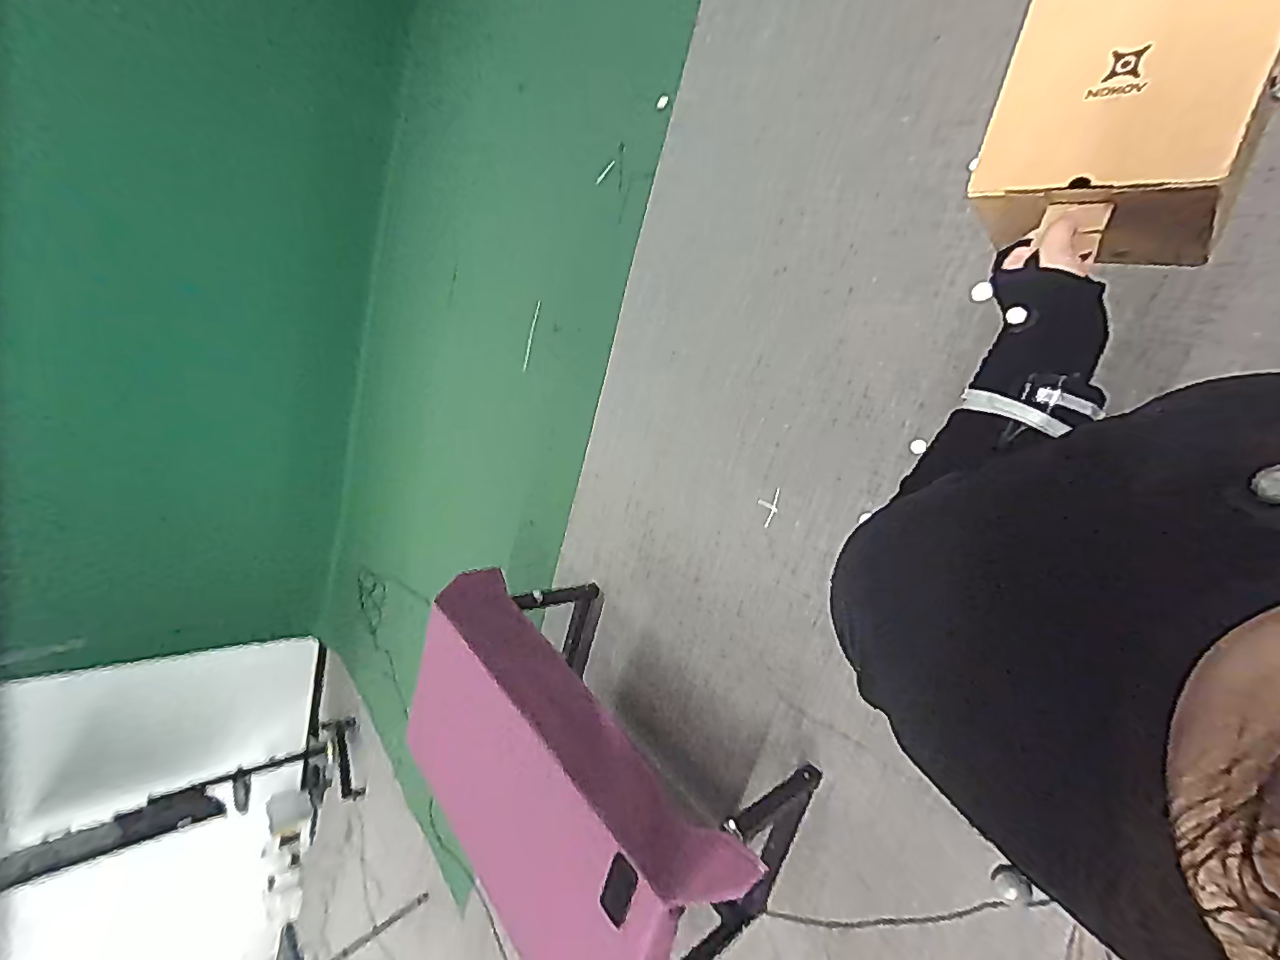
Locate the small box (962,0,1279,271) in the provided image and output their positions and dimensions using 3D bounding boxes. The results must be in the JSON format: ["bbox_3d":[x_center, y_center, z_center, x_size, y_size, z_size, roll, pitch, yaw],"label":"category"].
[{"bbox_3d":[0.419,-0.305,0.477,0.168,0.176,0.179,24,104,41],"label":"small box"}]
